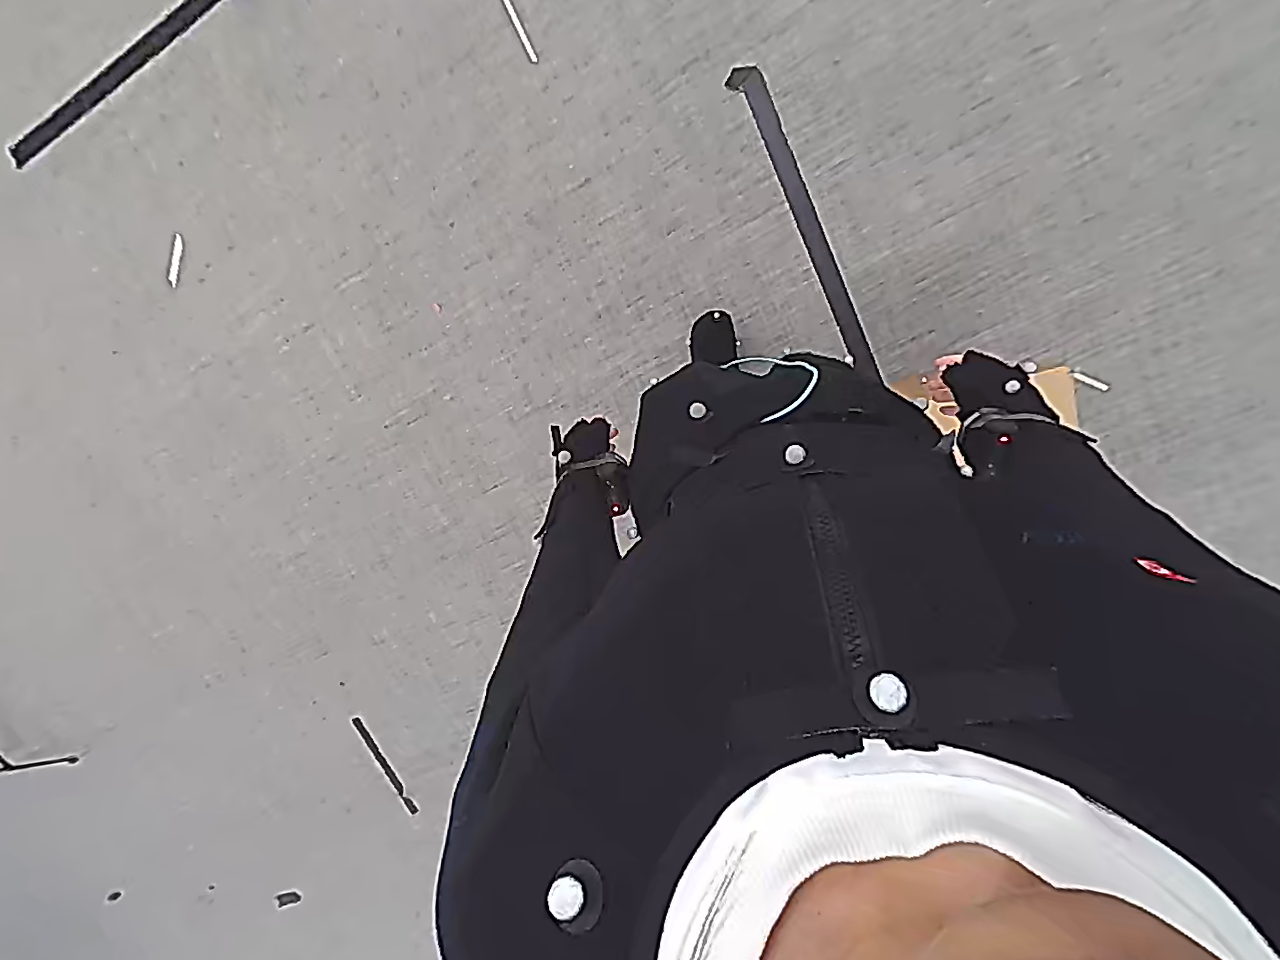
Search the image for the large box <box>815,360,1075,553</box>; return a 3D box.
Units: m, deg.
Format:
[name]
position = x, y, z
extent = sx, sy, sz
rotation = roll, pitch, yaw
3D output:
[large box]
position = 0.660, -0.069, 1.230
extent = 0.408, 0.320, 0.320
rotation = -14, 103, 8
